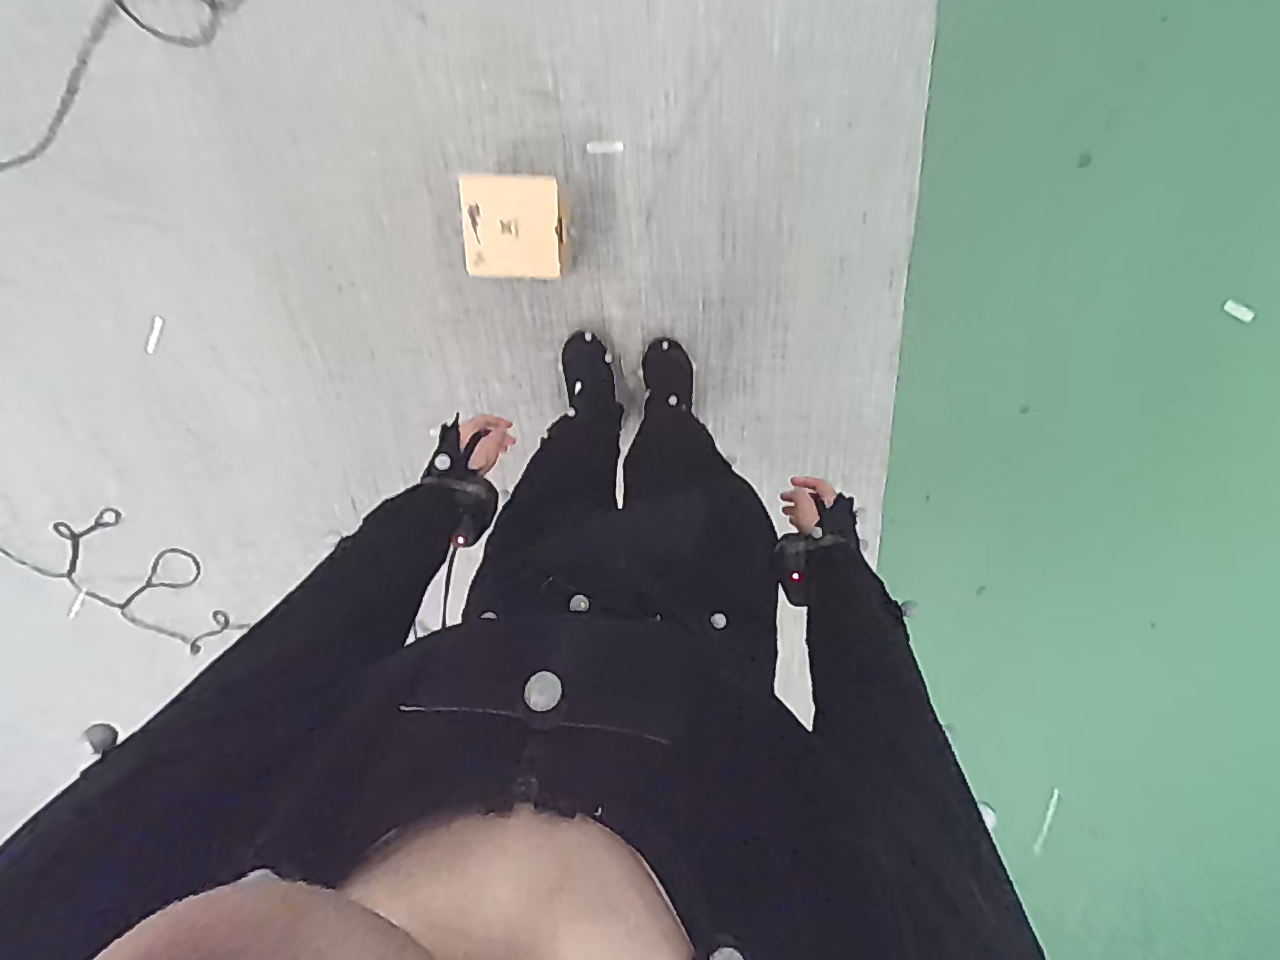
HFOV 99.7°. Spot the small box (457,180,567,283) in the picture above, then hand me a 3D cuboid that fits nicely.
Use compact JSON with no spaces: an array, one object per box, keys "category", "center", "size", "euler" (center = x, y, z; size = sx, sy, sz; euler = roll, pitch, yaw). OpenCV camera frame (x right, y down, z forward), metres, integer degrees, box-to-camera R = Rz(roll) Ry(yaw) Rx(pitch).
[{"category":"small box","center":[-0.236,-0.478,1.046],"size":[0.179,0.176,0.168],"euler":[2,114,0]}]
